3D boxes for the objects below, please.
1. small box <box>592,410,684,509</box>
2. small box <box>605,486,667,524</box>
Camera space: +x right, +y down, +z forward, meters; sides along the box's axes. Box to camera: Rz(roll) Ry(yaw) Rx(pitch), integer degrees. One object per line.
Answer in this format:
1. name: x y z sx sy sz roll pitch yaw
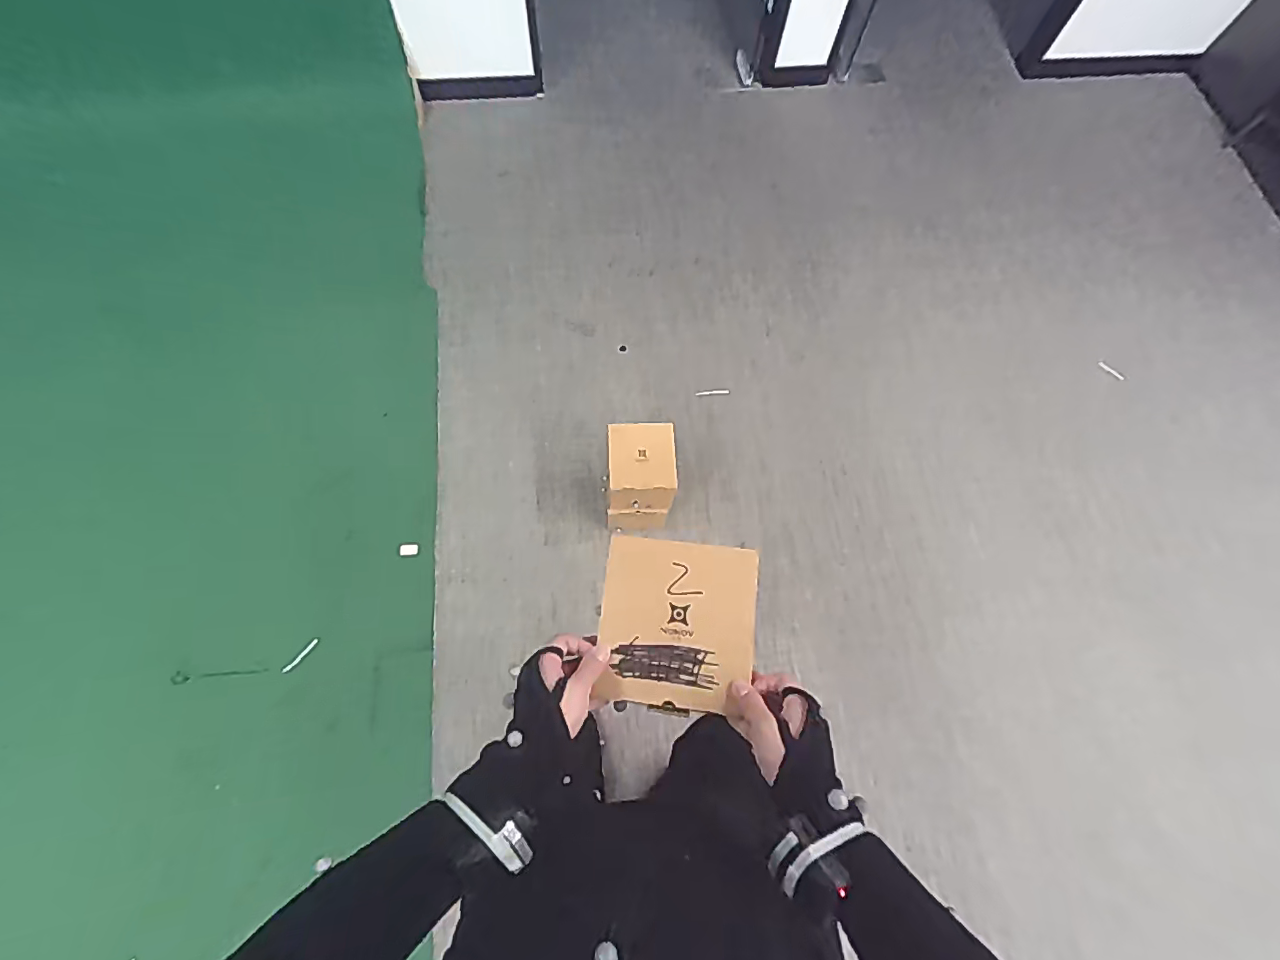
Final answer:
1. small box: -0.007 -0.046 1.405 0.179 0.176 0.168 29 73 7
2. small box: -0.014 0.024 1.544 0.168 0.176 0.179 0 69 -4
